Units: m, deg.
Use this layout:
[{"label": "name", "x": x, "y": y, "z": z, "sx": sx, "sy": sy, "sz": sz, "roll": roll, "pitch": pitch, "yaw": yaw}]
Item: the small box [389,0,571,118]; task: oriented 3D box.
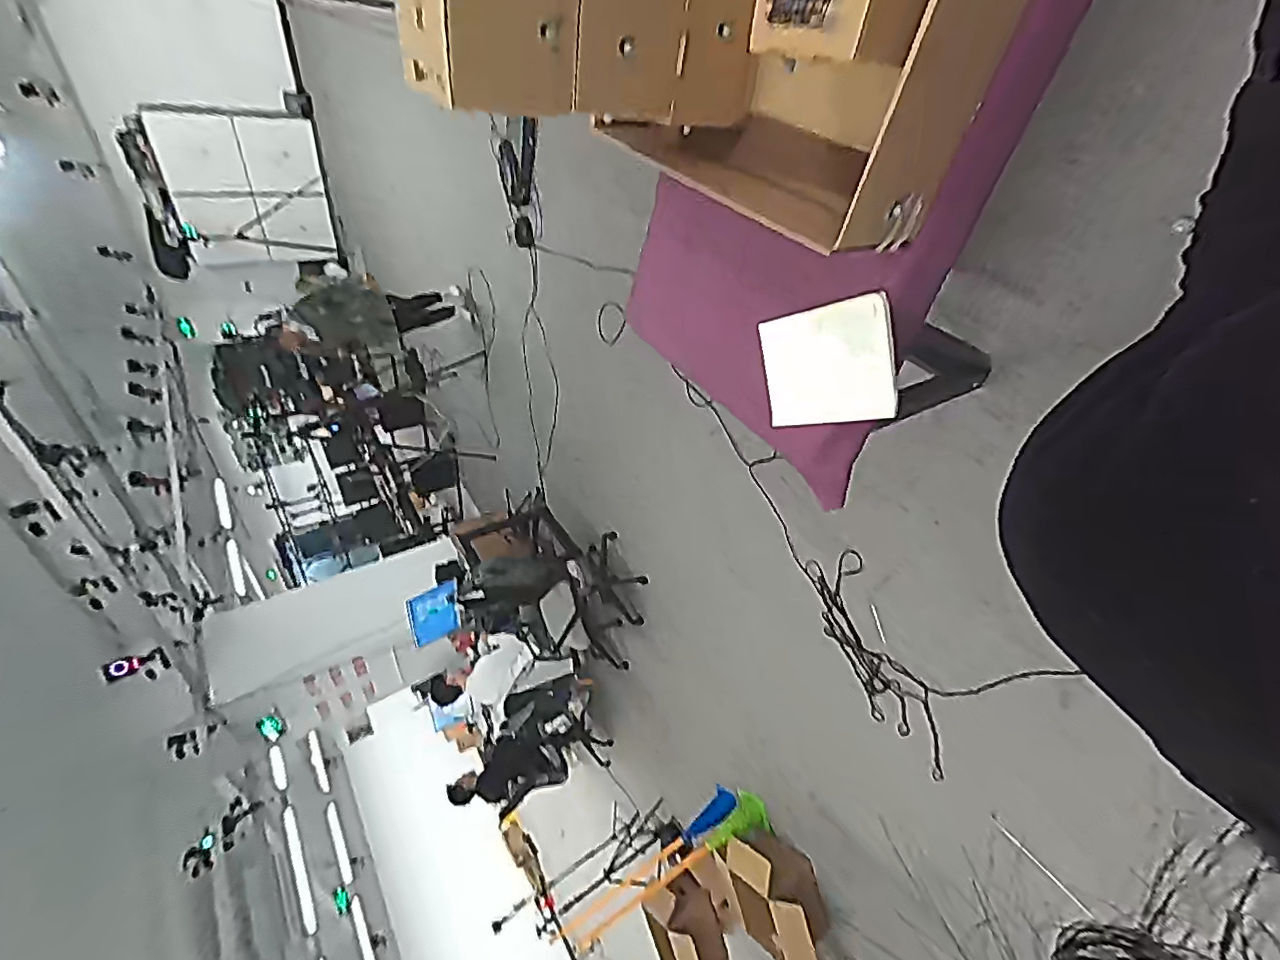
[{"label": "small box", "x": -0.197, "y": -0.574, "z": 0.672, "sx": 0.168, "sy": 0.176, "sz": 0.179, "roll": 46, "pitch": 140, "yaw": 33}]

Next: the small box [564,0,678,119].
[{"label": "small box", "x": -0.064, "y": -0.624, "z": 0.754, "sx": 0.168, "sy": 0.176, "sz": 0.179, "roll": 44, "pitch": 141, "yaw": 35}]
